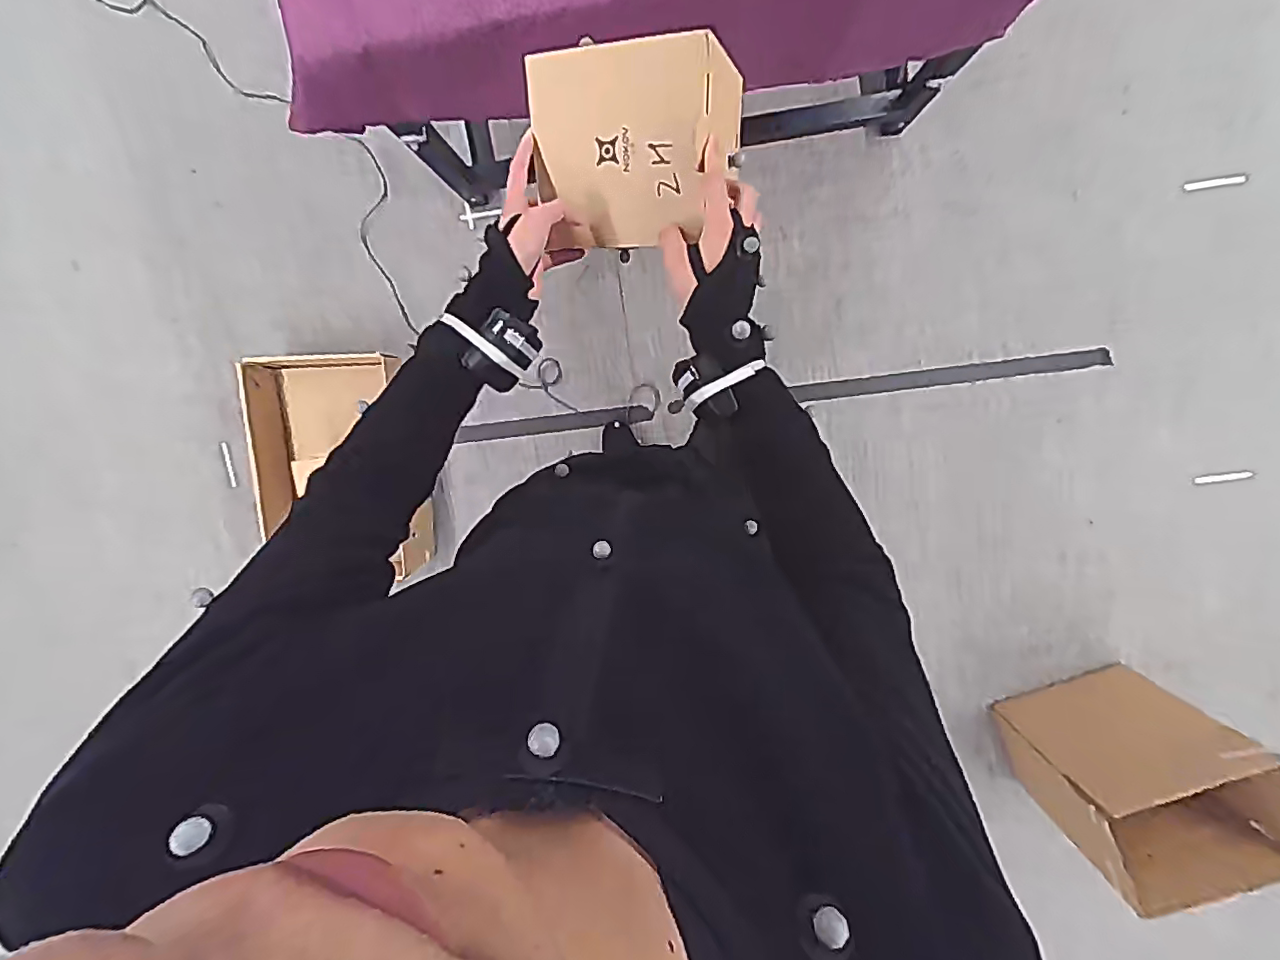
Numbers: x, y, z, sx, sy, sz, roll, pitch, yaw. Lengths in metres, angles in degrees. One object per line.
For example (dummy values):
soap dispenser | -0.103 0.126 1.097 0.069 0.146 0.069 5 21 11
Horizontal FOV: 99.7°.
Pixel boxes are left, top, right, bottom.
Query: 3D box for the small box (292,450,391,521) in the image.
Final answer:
small box | -0.821 0.011 1.511 0.179 0.176 0.168 -7 97 3

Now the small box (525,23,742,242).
small box | 0.003 -0.342 0.569 0.179 0.176 0.168 6 116 17
